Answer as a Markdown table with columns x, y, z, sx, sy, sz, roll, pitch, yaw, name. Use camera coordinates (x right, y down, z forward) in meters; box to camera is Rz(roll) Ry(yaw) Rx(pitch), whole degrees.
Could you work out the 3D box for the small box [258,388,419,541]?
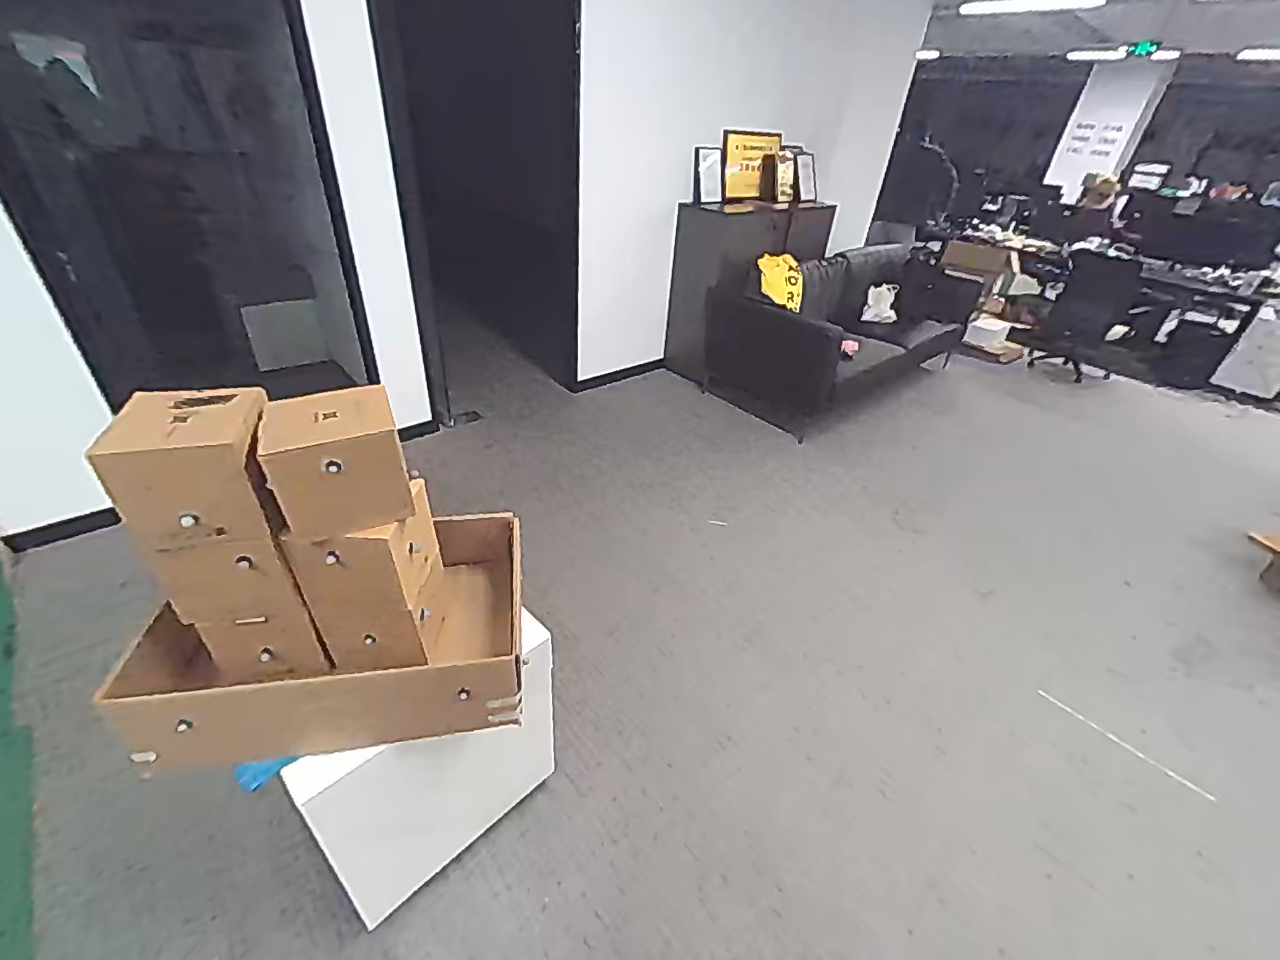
| x | y | z | sx | sy | sz | roll | pitch | yaw | name |
| --- | --- | --- | --- | --- | --- | --- | --- | --- | --- |
| -0.468 | -0.026 | 0.859 | 0.179 | 0.176 | 0.168 | -14 | 38 | -21 | small box |
